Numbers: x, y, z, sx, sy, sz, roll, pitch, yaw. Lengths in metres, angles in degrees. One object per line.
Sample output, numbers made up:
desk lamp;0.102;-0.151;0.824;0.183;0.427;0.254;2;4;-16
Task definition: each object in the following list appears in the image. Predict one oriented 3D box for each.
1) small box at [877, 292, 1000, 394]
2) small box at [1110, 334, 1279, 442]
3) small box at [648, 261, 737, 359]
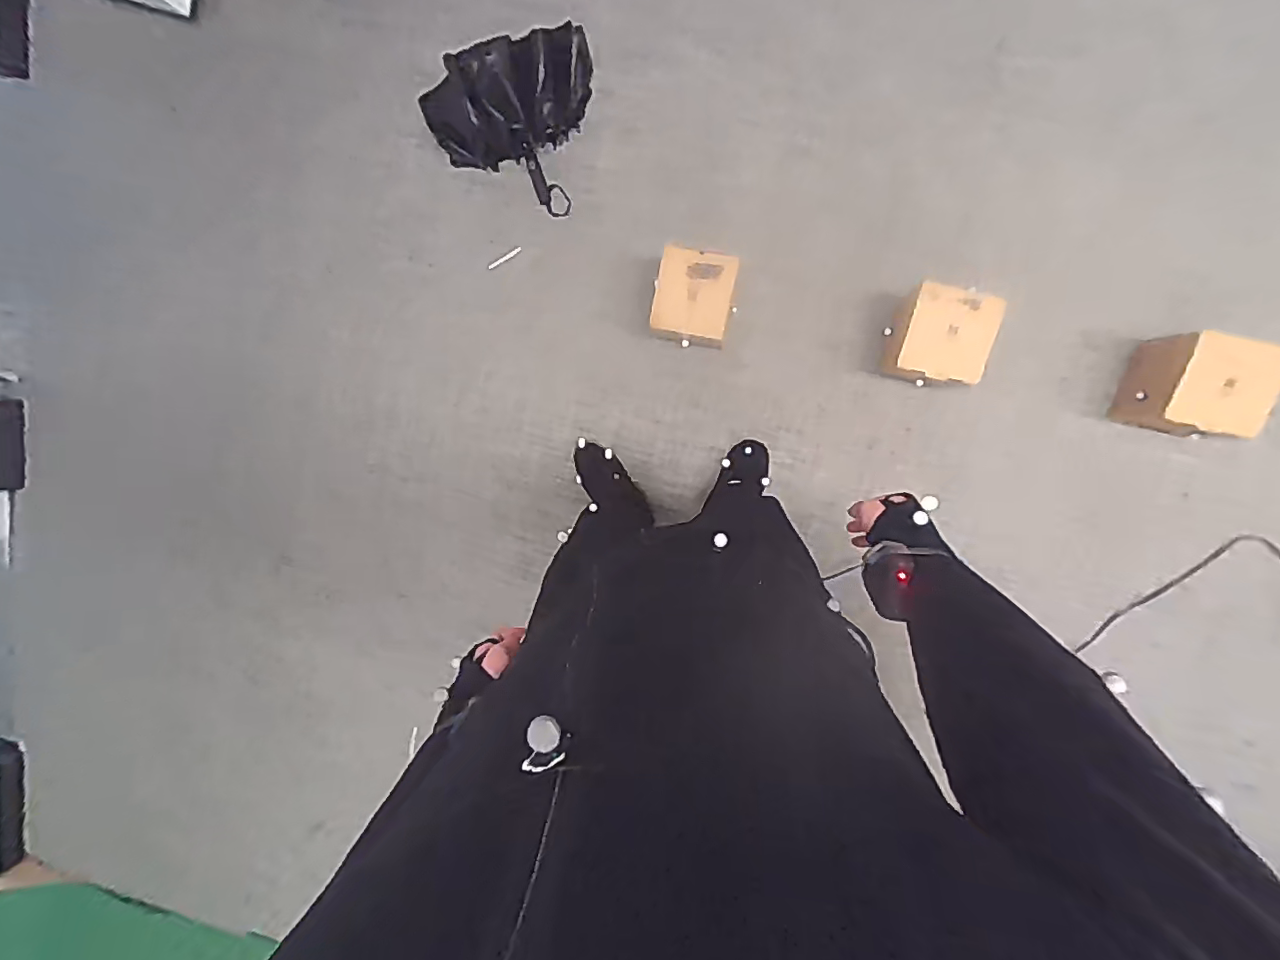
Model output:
small box;0.633;-0.289;1.175;0.168;0.176;0.179;15;100;8
small box;1.116;-0.183;1.100;0.168;0.176;0.179;14;99;8
small box;0.125;-0.387;1.253;0.168;0.176;0.179;12;100;9
